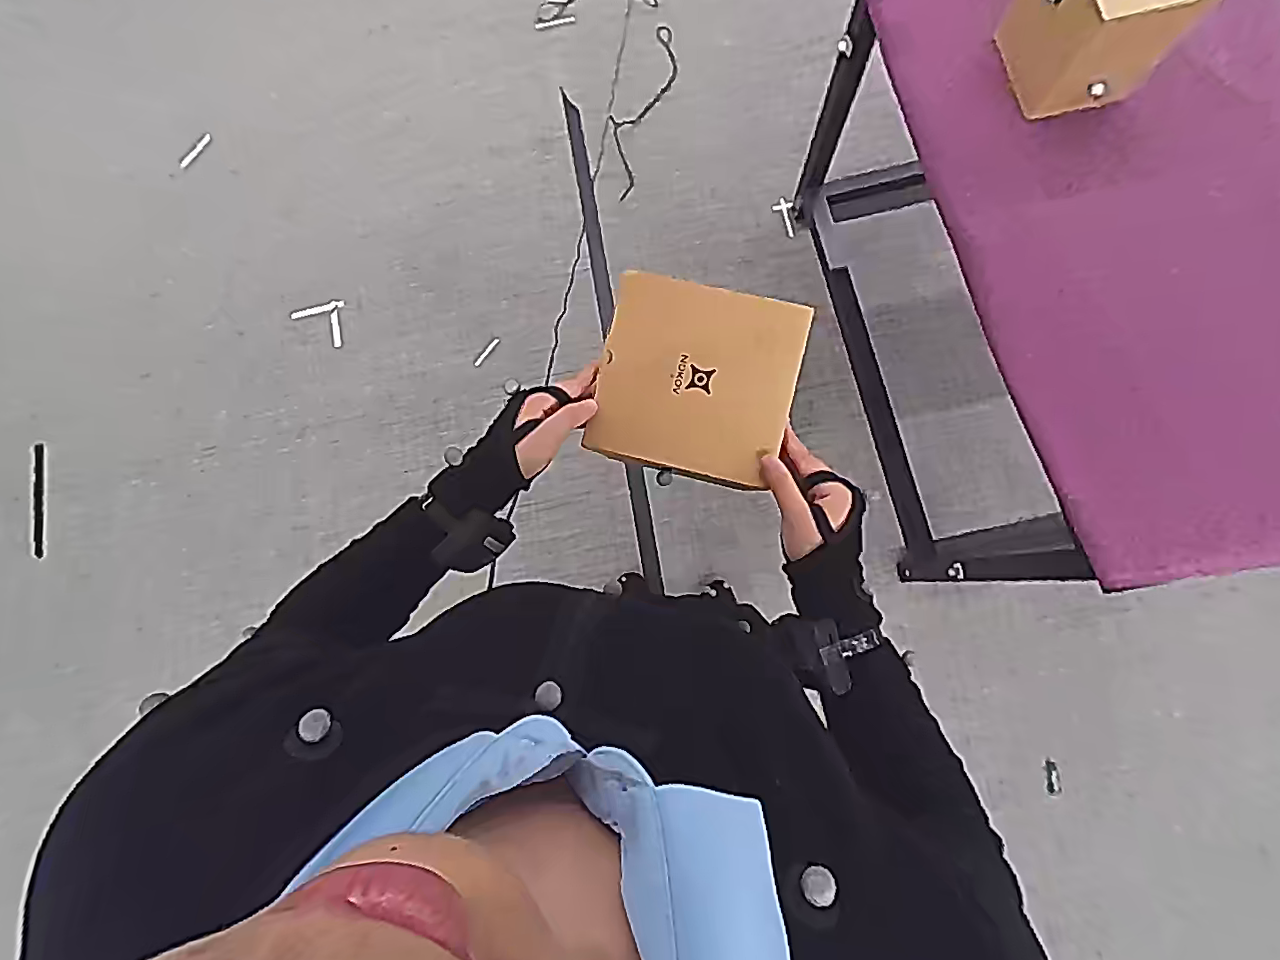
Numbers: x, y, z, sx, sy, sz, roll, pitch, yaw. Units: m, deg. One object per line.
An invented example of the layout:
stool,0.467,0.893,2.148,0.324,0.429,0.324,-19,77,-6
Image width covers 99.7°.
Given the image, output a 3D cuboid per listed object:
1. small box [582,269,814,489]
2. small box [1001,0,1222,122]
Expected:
small box,0.057,-0.091,0.558,0.179,0.176,0.168,14,90,6
small box,0.695,-0.698,0.824,0.168,0.176,0.179,-11,80,2
